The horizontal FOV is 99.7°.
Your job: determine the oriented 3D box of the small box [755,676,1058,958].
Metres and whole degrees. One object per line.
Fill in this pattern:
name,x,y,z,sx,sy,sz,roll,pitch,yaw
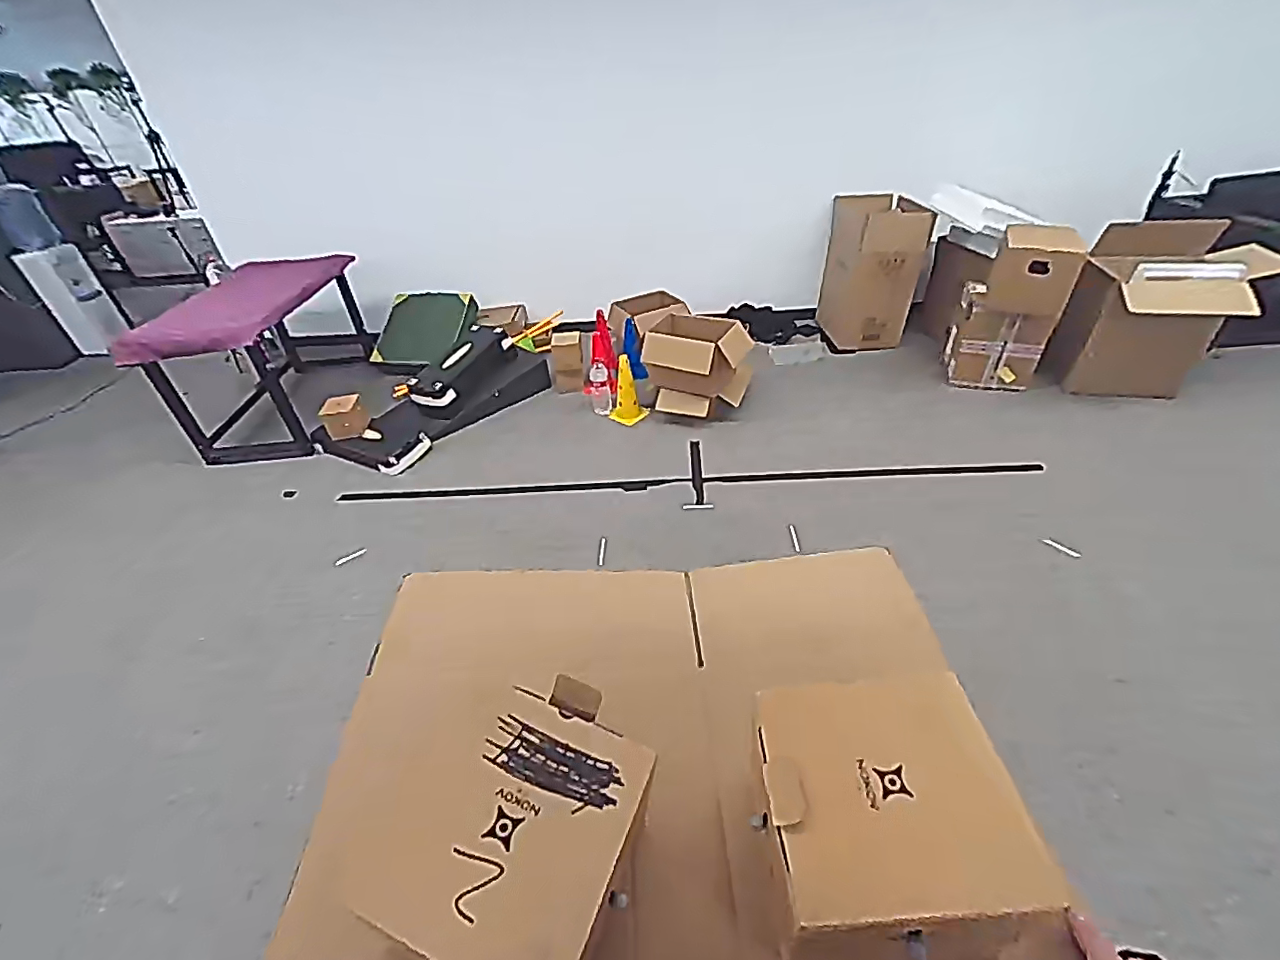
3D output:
small box,0.202,0.296,0.475,0.179,0.176,0.168,-8,40,4
